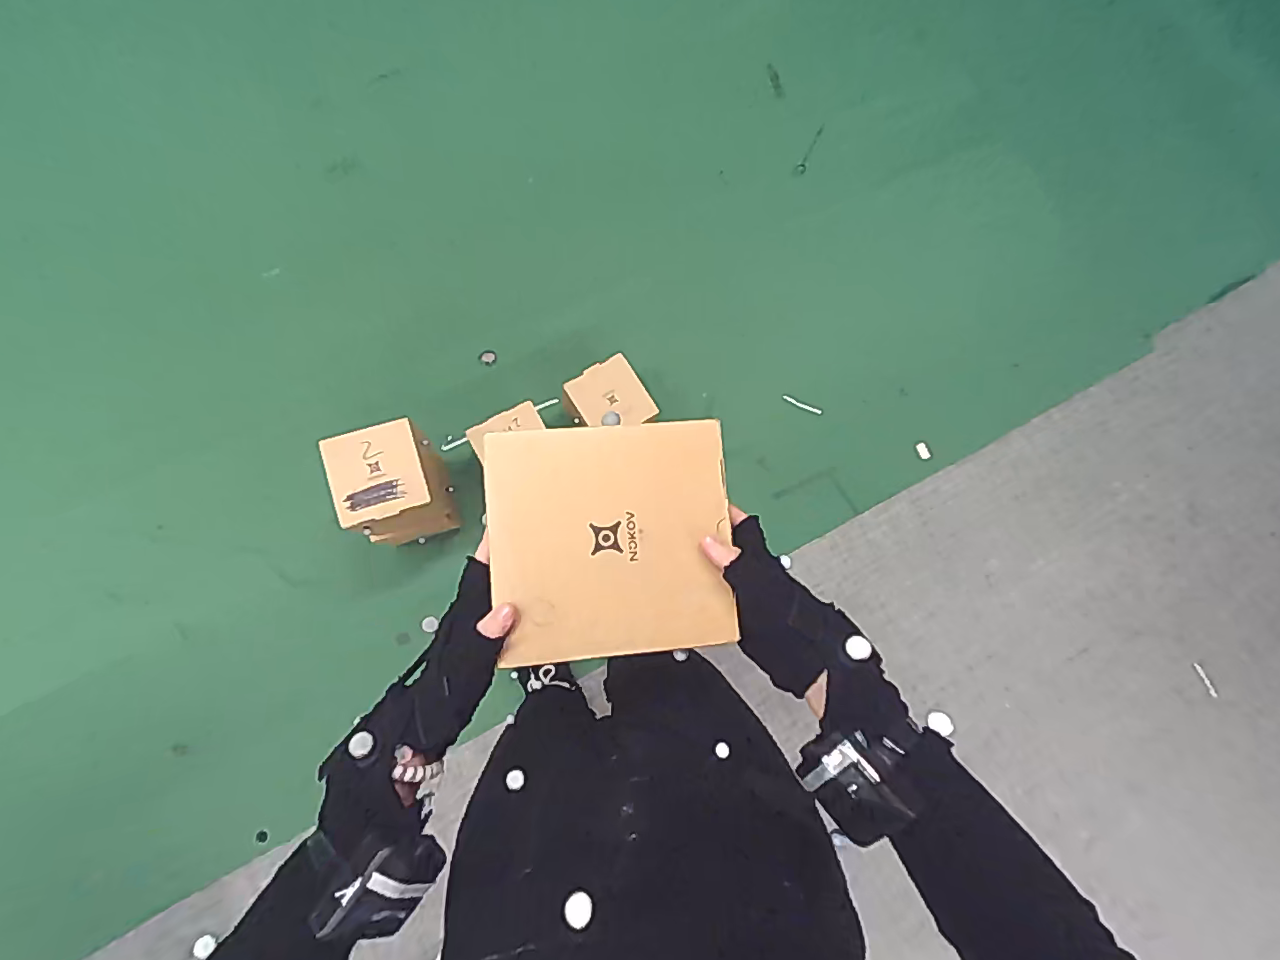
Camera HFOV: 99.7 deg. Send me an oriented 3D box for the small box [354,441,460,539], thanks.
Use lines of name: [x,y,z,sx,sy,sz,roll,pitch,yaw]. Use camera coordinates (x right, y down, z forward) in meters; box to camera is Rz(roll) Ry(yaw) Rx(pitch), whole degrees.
small box: [-0.524,0.028,1.234,0.168,0.176,0.179,-15,84,-10]

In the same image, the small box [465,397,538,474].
small box: [-0.290,-0.067,1.285,0.168,0.176,0.179,-28,85,-12]

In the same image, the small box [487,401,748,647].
small box: [-0.024,0.037,0.459,0.179,0.176,0.168,-4,84,-8]

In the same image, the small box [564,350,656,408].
small box: [-0.078,-0.185,1.339,0.168,0.176,0.179,-31,86,-12]
